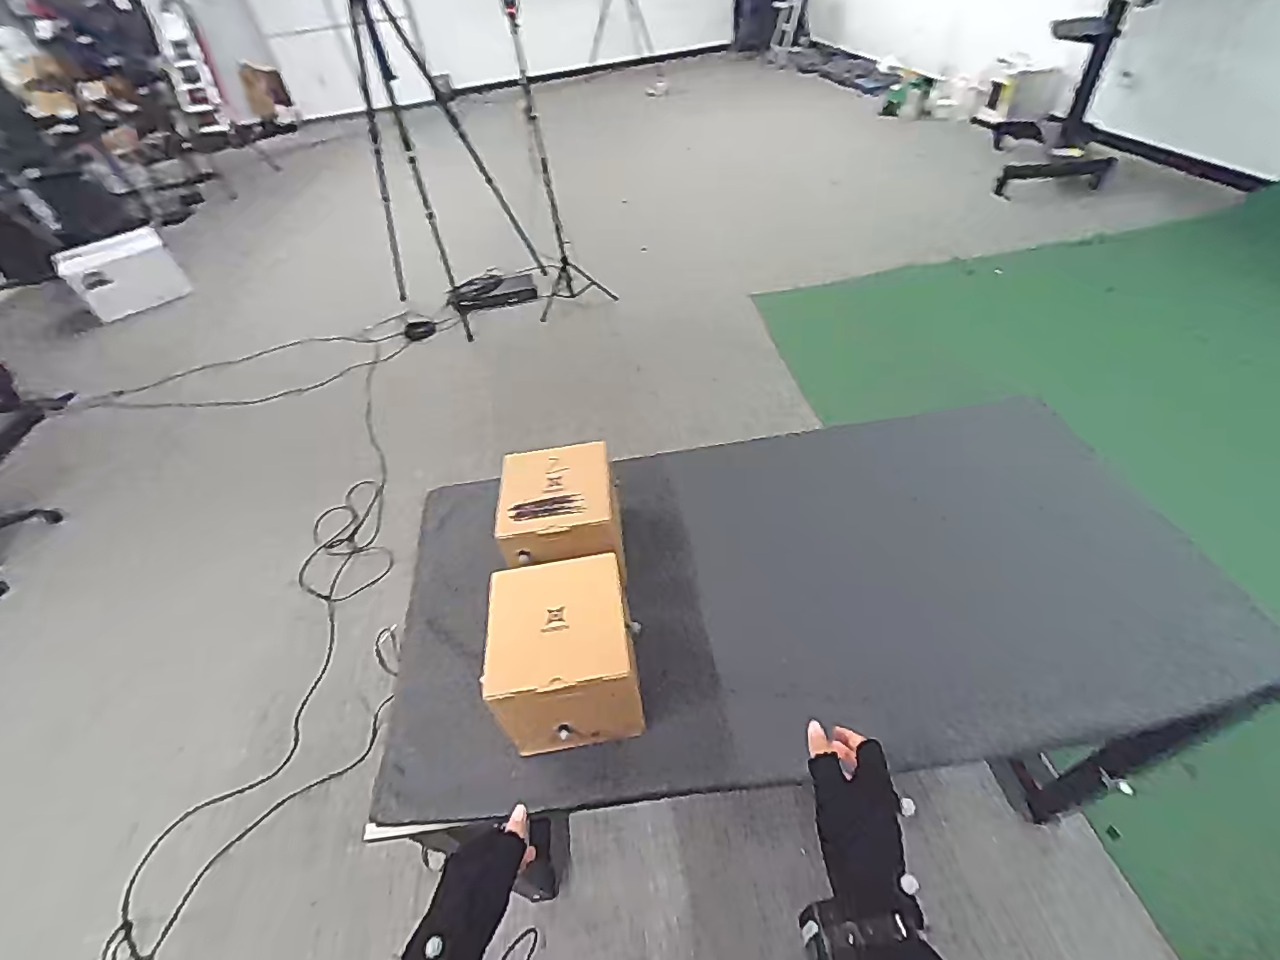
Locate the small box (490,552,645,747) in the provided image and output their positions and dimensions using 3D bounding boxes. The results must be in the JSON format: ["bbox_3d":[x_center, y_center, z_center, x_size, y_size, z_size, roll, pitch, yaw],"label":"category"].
[{"bbox_3d":[-0.090,0.224,0.718,0.168,0.176,0.179,-10,44,-2],"label":"small box"}]
